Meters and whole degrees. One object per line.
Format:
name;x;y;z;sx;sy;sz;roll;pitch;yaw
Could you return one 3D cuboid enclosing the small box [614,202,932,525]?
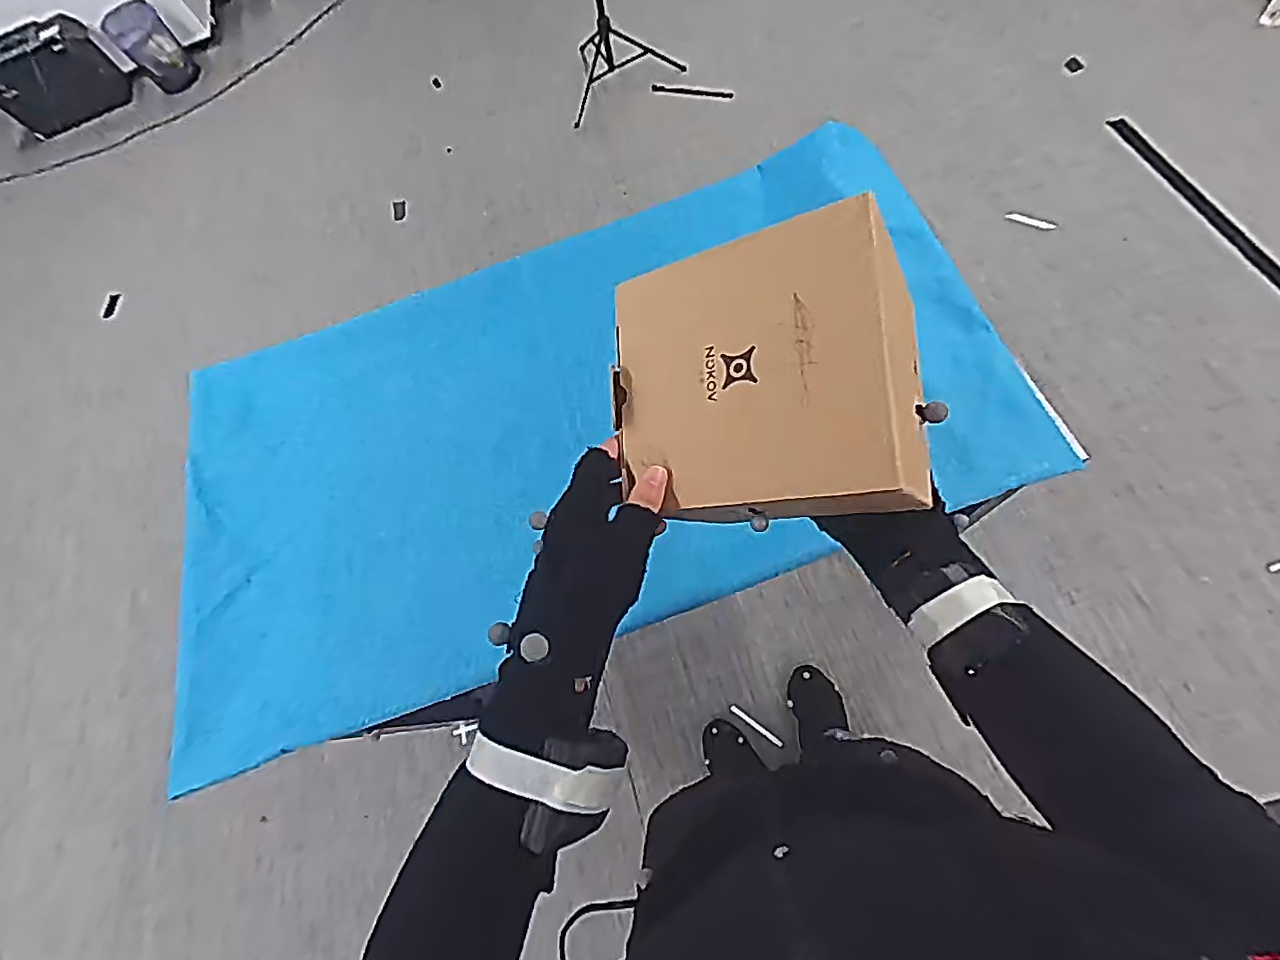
small box;0.099;-0.055;0.394;0.179;0.176;0.168;-7;81;33
